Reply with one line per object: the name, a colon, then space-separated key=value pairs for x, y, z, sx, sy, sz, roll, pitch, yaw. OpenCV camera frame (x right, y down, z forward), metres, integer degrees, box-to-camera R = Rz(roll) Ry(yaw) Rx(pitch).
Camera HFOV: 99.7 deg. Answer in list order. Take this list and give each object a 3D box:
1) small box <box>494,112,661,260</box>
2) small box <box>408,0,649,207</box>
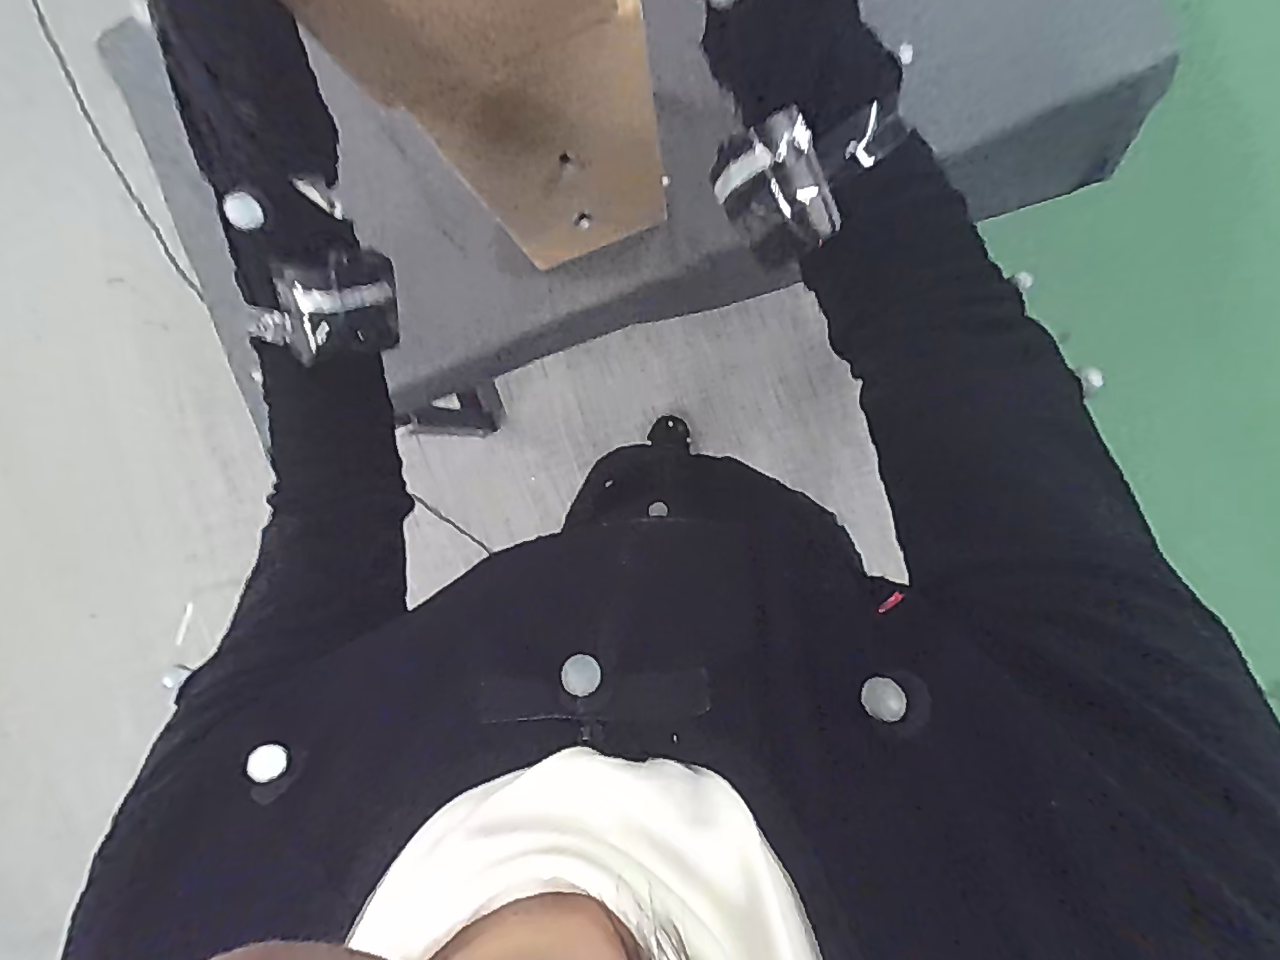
small box: x=-0.079 y=-0.377 z=0.606 sx=0.179 sy=0.176 sz=0.168 roll=-16 pitch=89 yaw=7
small box: x=-0.096 y=-0.364 z=0.446 sx=0.179 sy=0.176 sz=0.168 roll=-18 pitch=90 yaw=7
